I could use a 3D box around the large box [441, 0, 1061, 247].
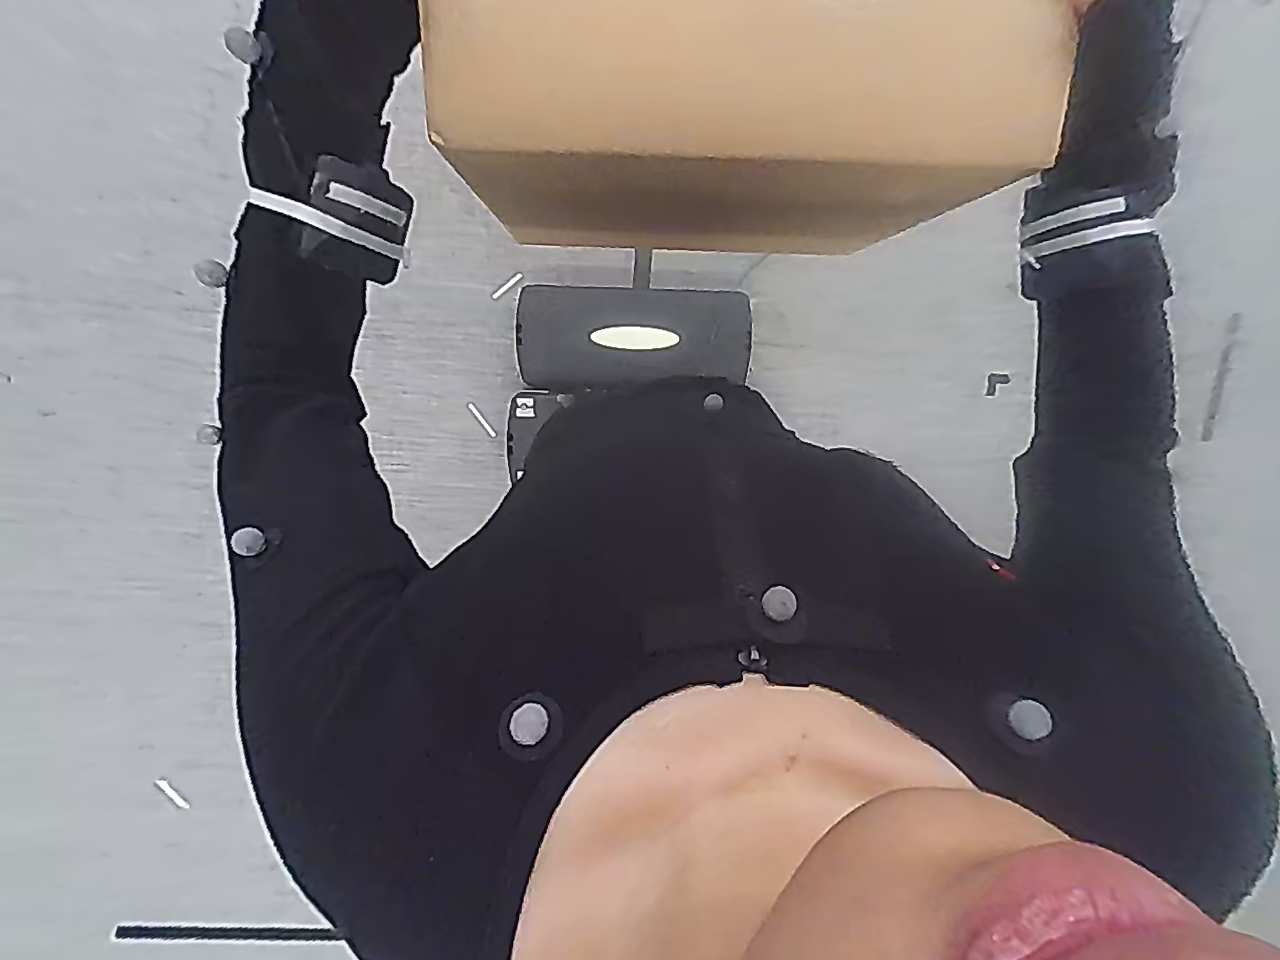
[{"bbox_3d":[0.064,-0.398,0.471,0.408,0.320,0.320,0,103,-3],"label":"large box"}]
